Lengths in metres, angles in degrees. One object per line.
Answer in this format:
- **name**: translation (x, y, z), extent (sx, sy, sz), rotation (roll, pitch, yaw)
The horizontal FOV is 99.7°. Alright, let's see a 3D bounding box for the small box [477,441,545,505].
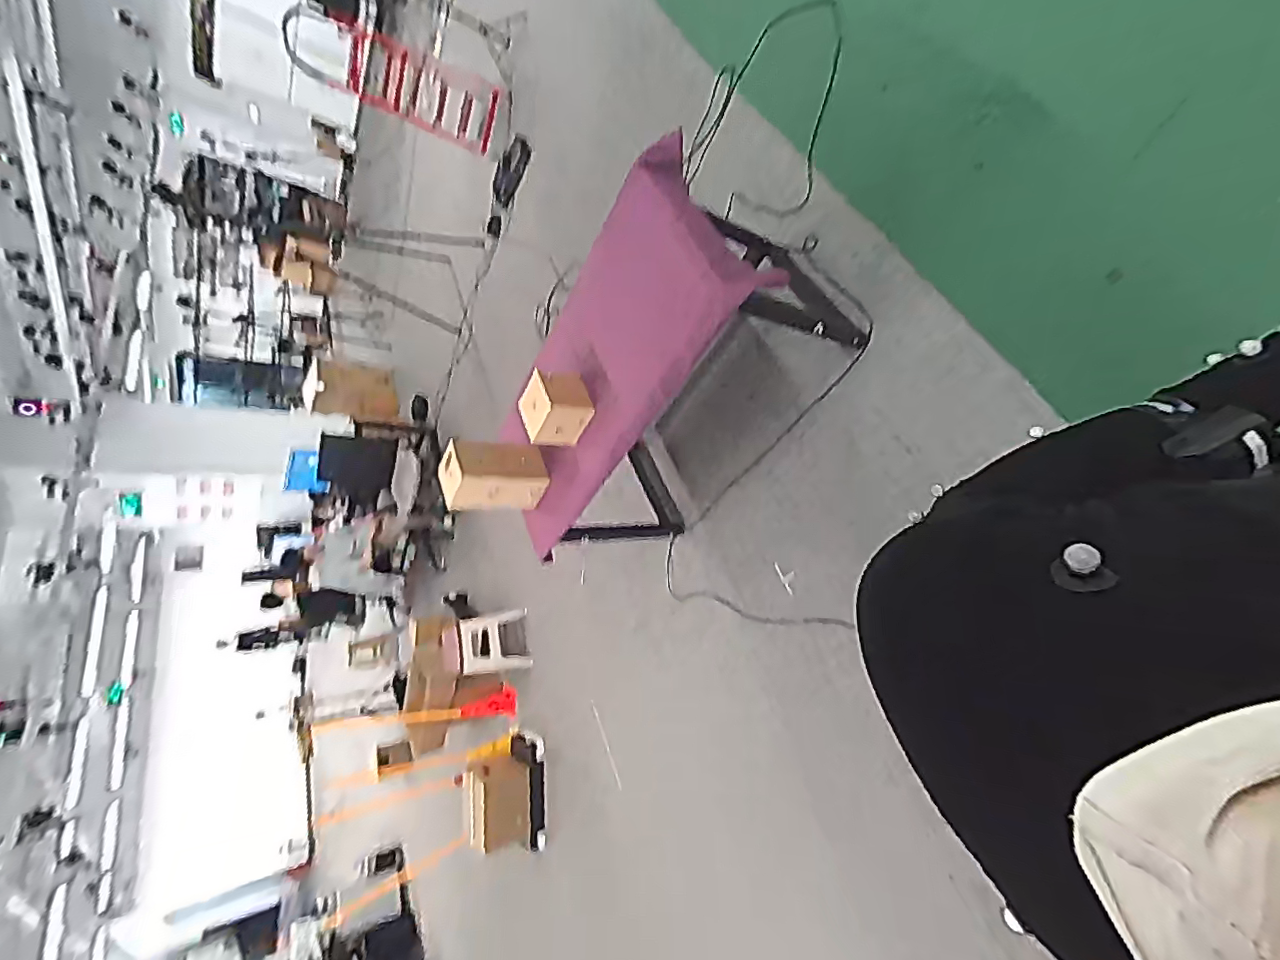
- **small box**: translation (-0.472, -0.022, 1.982), extent (0.168, 0.176, 0.179), rotation (-53, 52, 36)

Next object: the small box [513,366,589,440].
- **small box**: translation (-0.289, -0.246, 1.767), extent (0.168, 0.176, 0.179), rotation (-52, 51, 37)
